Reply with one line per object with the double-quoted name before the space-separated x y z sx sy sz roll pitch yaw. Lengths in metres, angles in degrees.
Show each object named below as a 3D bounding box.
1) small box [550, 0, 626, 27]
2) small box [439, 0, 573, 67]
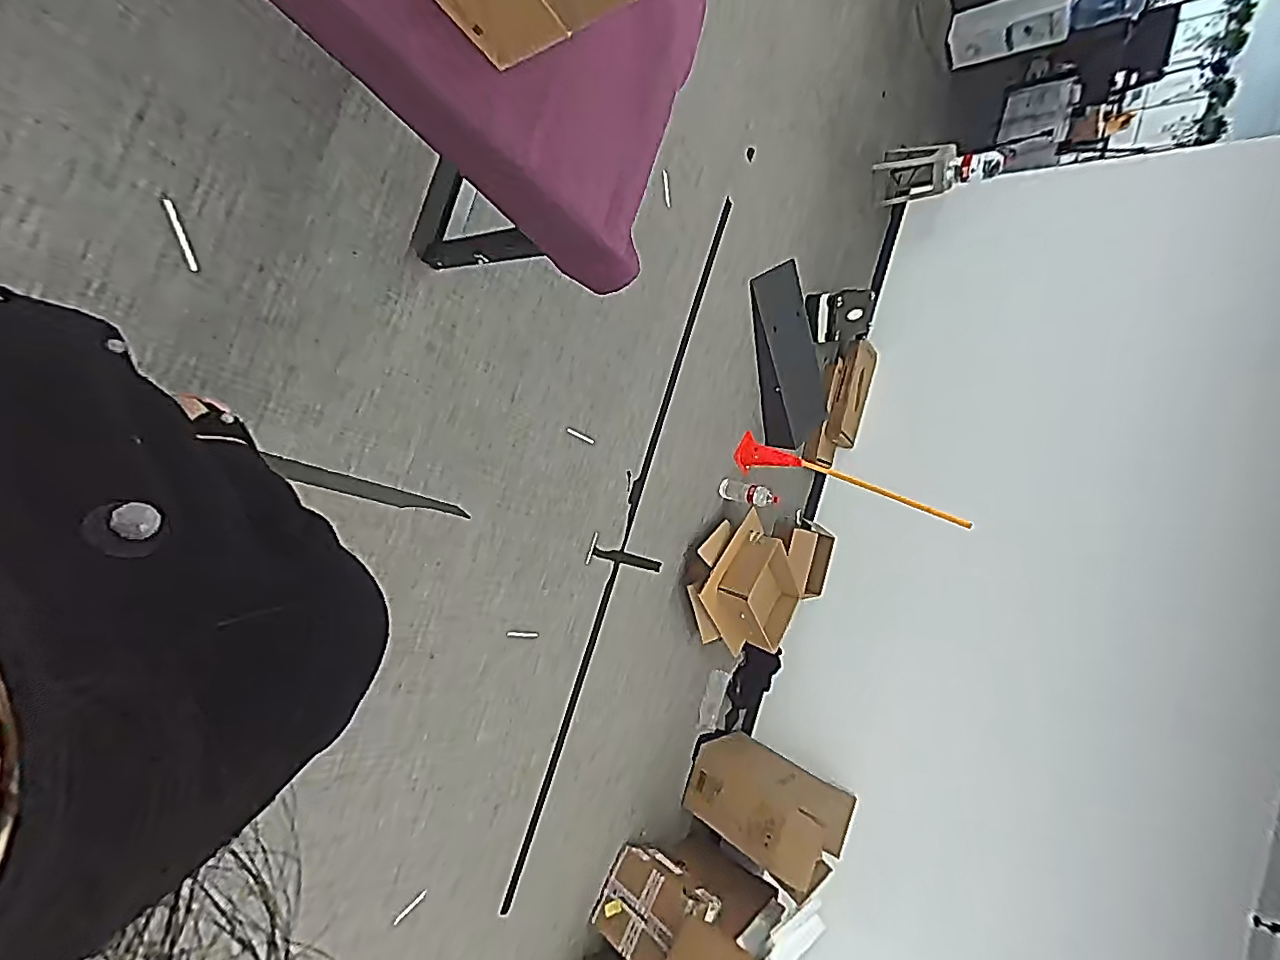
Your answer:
"small box" -0.053 -0.694 0.633 0.168 0.176 0.179 25 81 -50
"small box" -0.178 -0.719 0.735 0.168 0.176 0.179 24 81 -50
